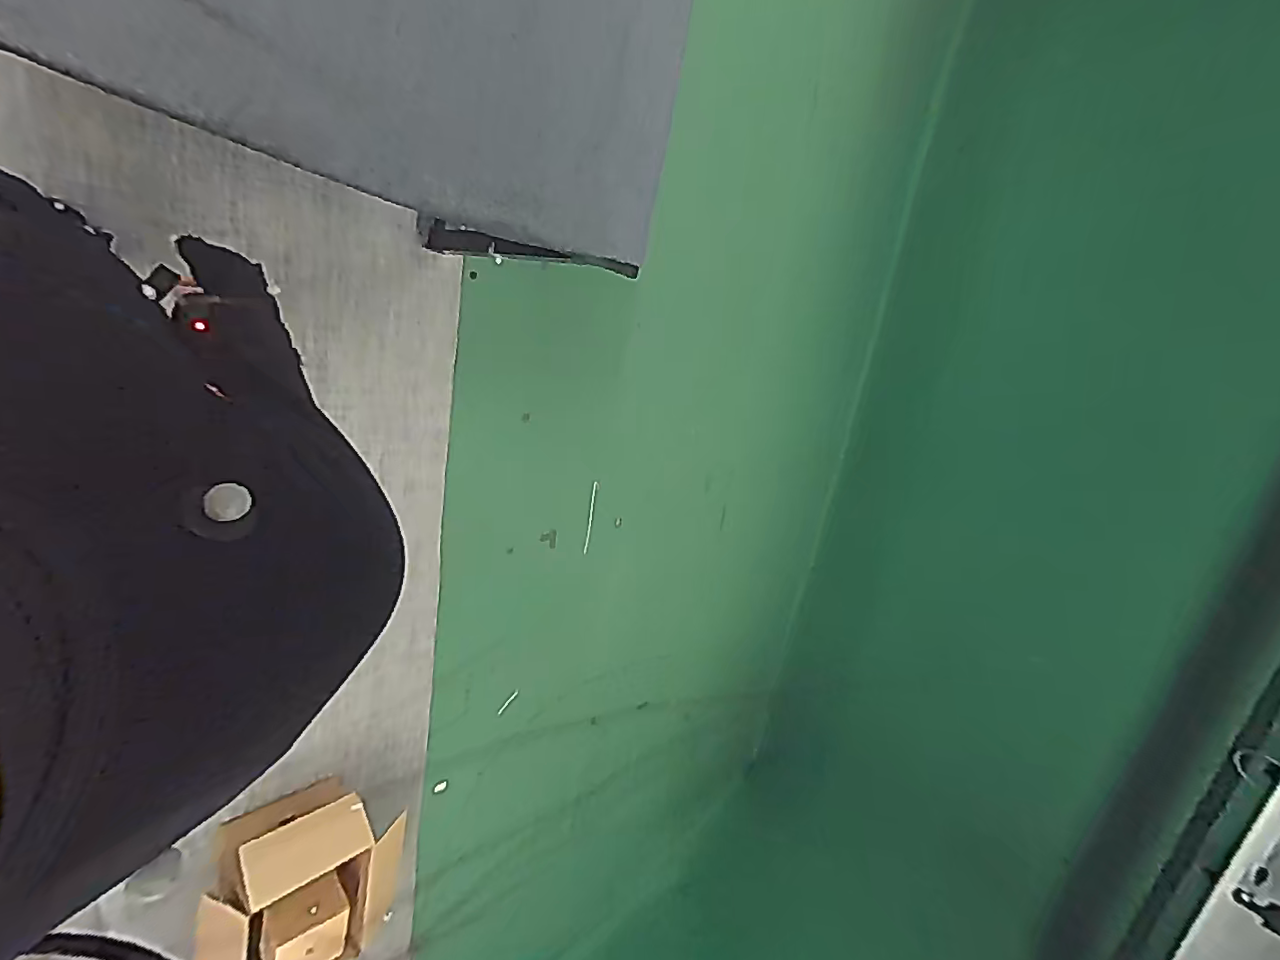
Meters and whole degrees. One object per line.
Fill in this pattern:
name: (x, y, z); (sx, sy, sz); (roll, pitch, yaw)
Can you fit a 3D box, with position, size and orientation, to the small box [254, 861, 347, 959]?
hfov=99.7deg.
small box: (-0.934, 1.209, 1.481); (0.179, 0.176, 0.168); (-1, 109, -49)
